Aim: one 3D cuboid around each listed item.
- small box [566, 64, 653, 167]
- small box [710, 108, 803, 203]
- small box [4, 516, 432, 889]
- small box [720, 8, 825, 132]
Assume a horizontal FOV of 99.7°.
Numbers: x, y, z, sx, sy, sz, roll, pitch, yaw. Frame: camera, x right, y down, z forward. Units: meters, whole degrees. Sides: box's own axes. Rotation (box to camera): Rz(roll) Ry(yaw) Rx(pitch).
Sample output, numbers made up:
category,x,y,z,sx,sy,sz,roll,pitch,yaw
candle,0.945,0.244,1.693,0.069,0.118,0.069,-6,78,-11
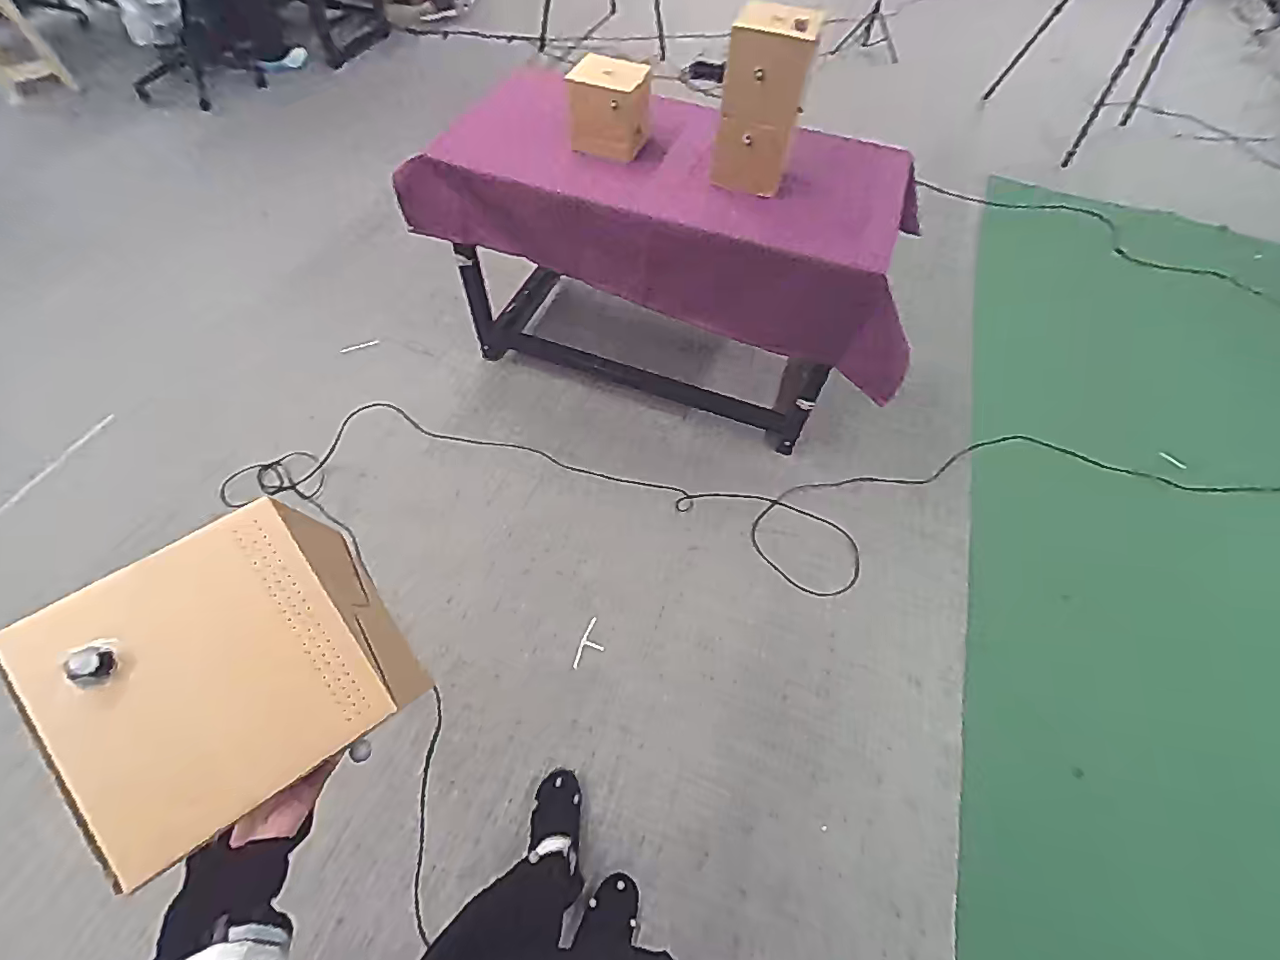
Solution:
category,x,y,z,sx,sy,sz,roll,pitch,yaw
small box,-0.079,-0.953,1.420,0.179,0.176,0.168,18,57,7
small box,0.286,-0.826,1.354,0.179,0.176,0.168,19,58,9
small box,-0.288,0.143,0.418,0.176,0.168,0.179,-33,85,-18
small box,0.293,-0.917,1.218,0.179,0.176,0.168,18,58,9
